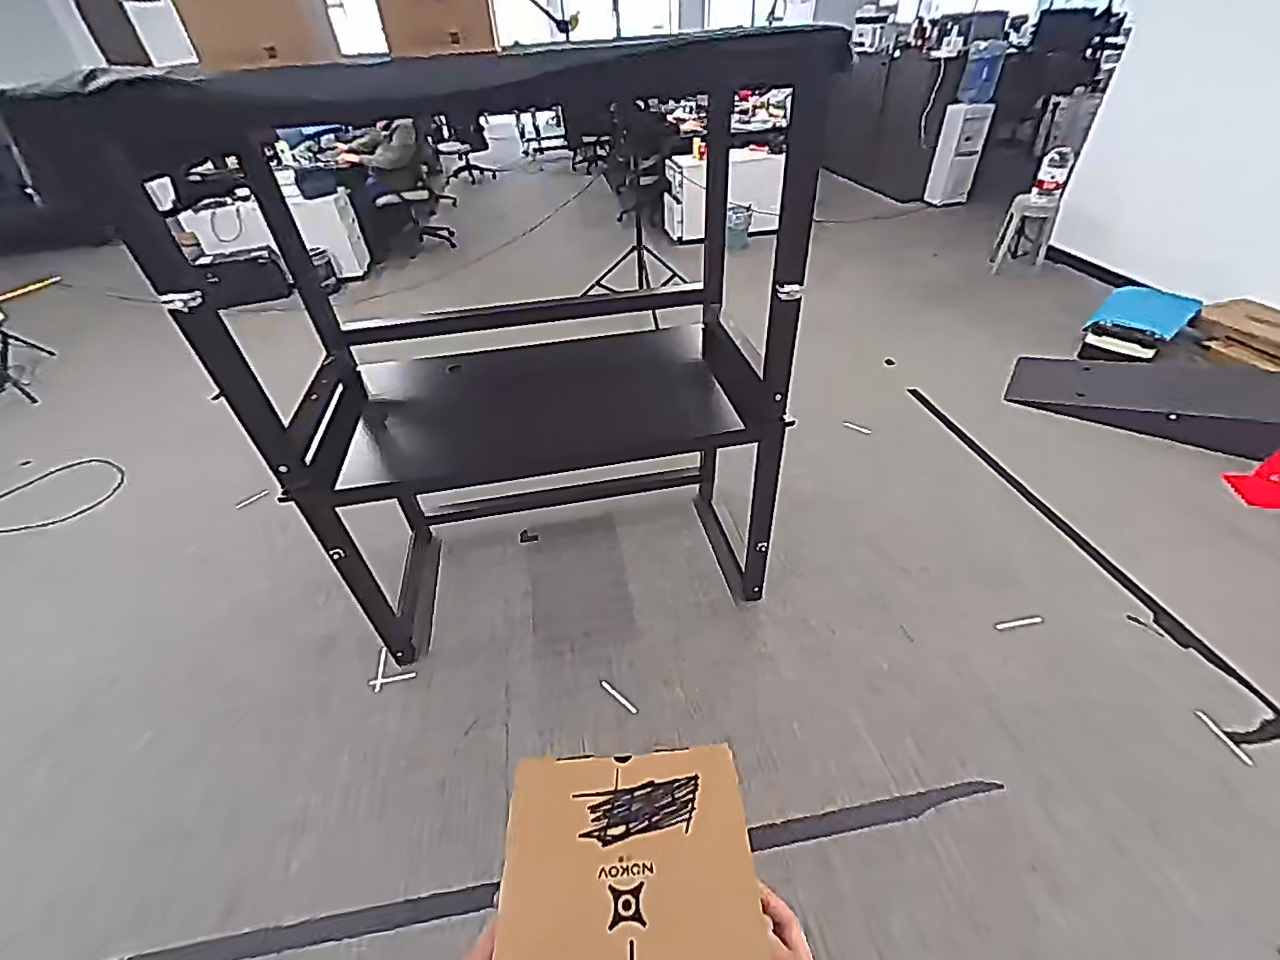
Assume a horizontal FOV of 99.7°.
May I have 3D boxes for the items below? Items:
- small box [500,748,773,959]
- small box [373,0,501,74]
[{"bbox_3d":[-0.002,0.330,0.397,0.168,0.176,0.179,-5,36,-2],"label":"small box"},{"bbox_3d":[-0.321,-0.756,0.857,0.168,0.176,0.179,-8,39,-6],"label":"small box"}]
